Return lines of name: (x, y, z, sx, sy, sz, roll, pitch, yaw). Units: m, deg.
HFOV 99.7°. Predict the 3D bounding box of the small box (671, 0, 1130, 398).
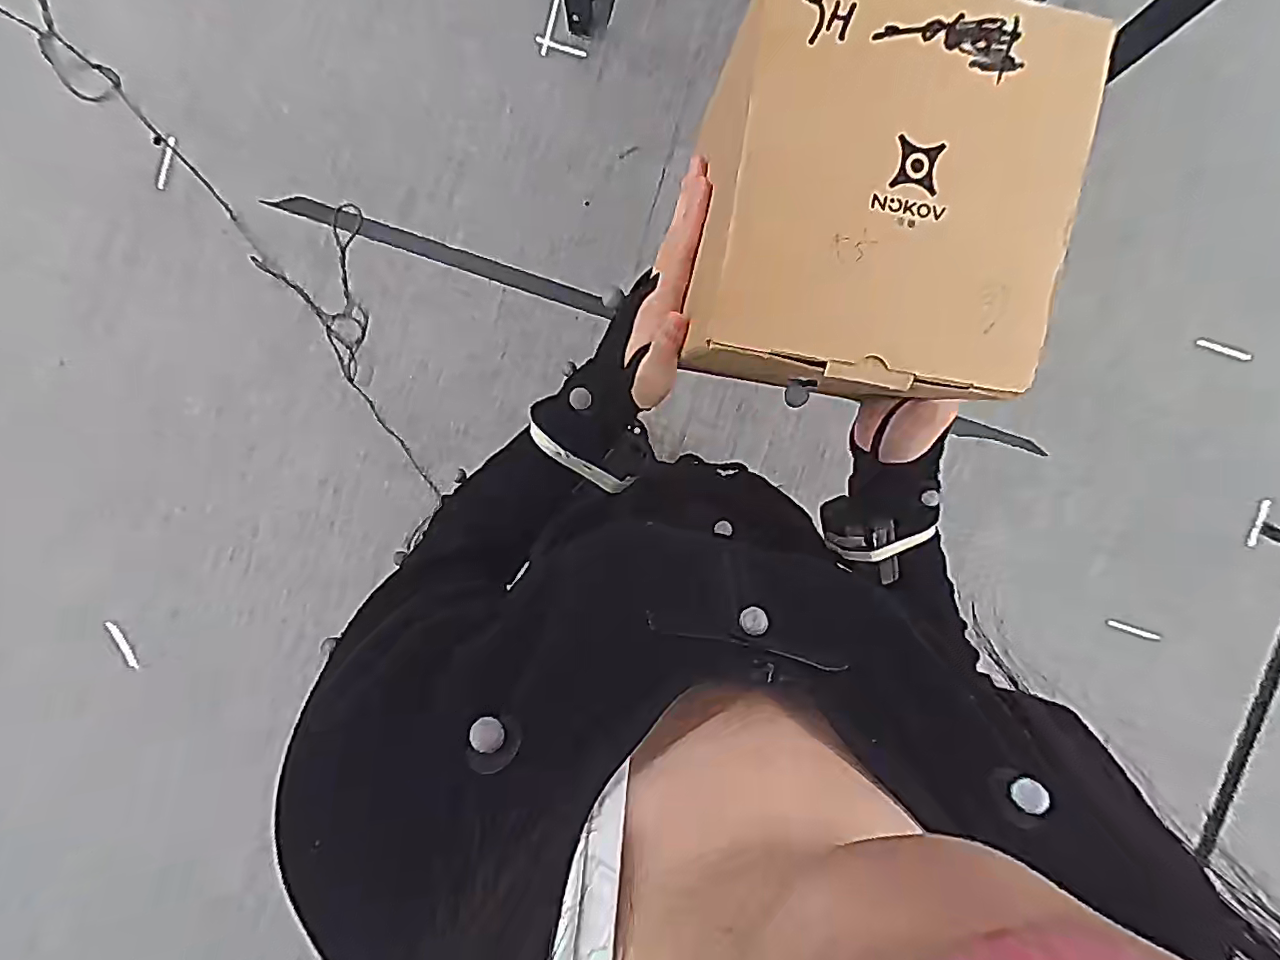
small box: (0.118, -0.150, 0.323, 0.168, 0.176, 0.179, 9, 98, -6)
